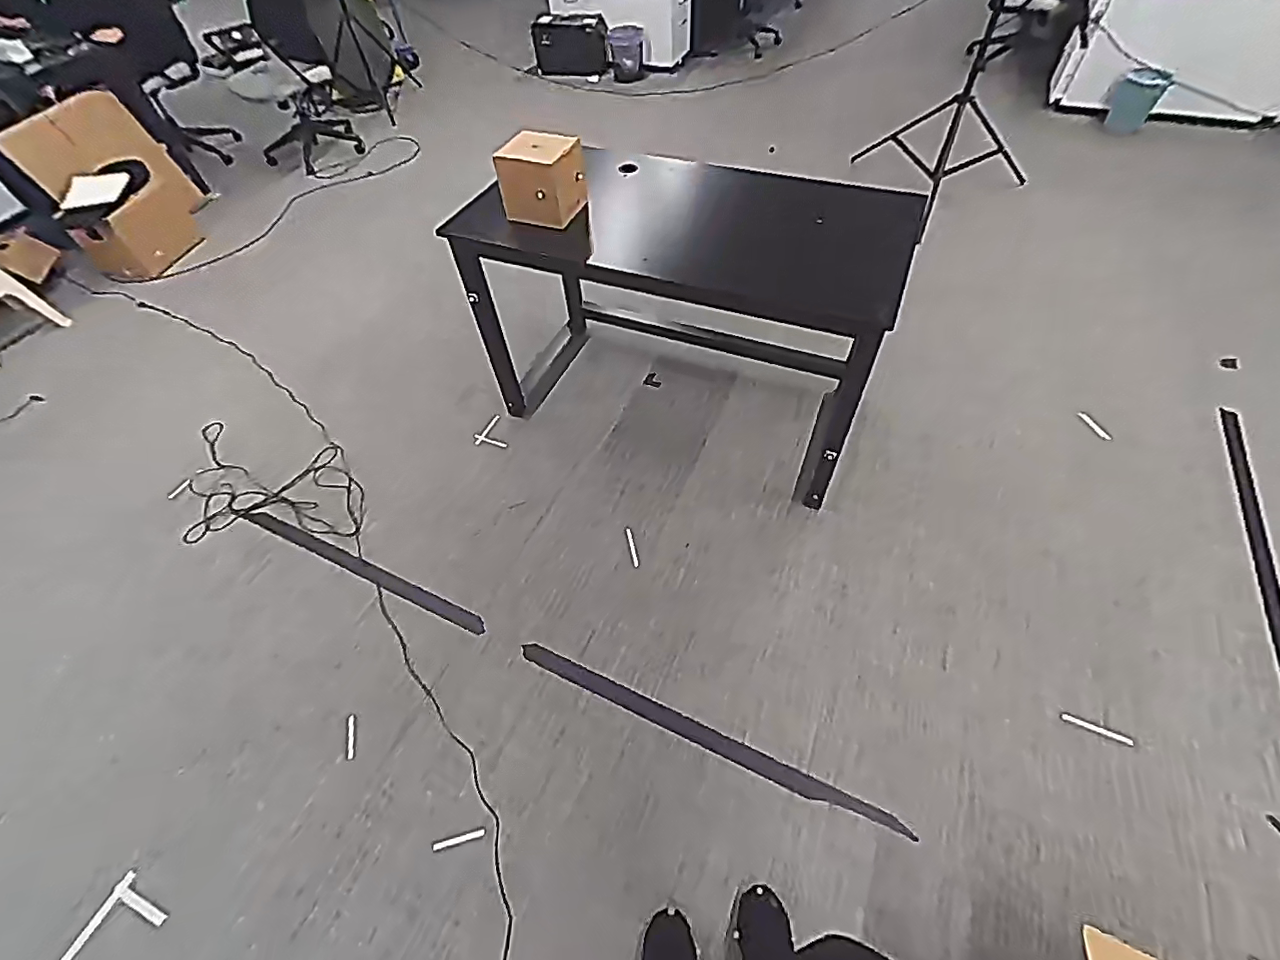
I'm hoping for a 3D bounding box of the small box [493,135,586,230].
[{"bbox_3d":[-0.261,-0.799,1.456,0.179,0.176,0.168,16,55,15],"label":"small box"}]
